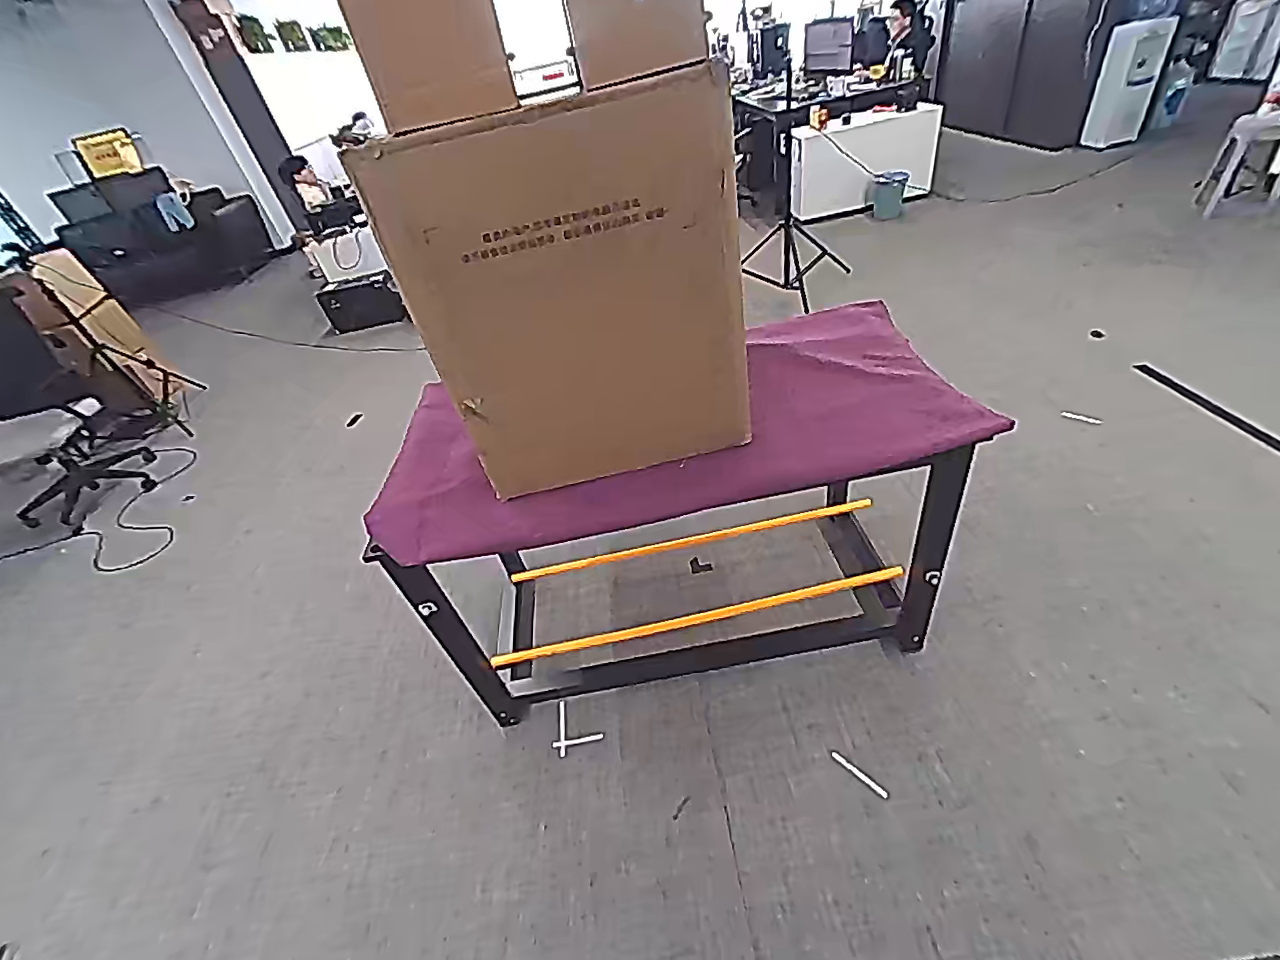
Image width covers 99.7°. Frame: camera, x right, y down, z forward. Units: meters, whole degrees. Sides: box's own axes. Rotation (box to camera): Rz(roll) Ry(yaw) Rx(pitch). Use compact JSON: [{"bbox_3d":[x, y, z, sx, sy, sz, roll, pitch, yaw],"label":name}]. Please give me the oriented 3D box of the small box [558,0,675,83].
[{"bbox_3d":[-0.044,-0.760,0.871,0.168,0.176,0.179,-12,39,3],"label":"small box"}]
